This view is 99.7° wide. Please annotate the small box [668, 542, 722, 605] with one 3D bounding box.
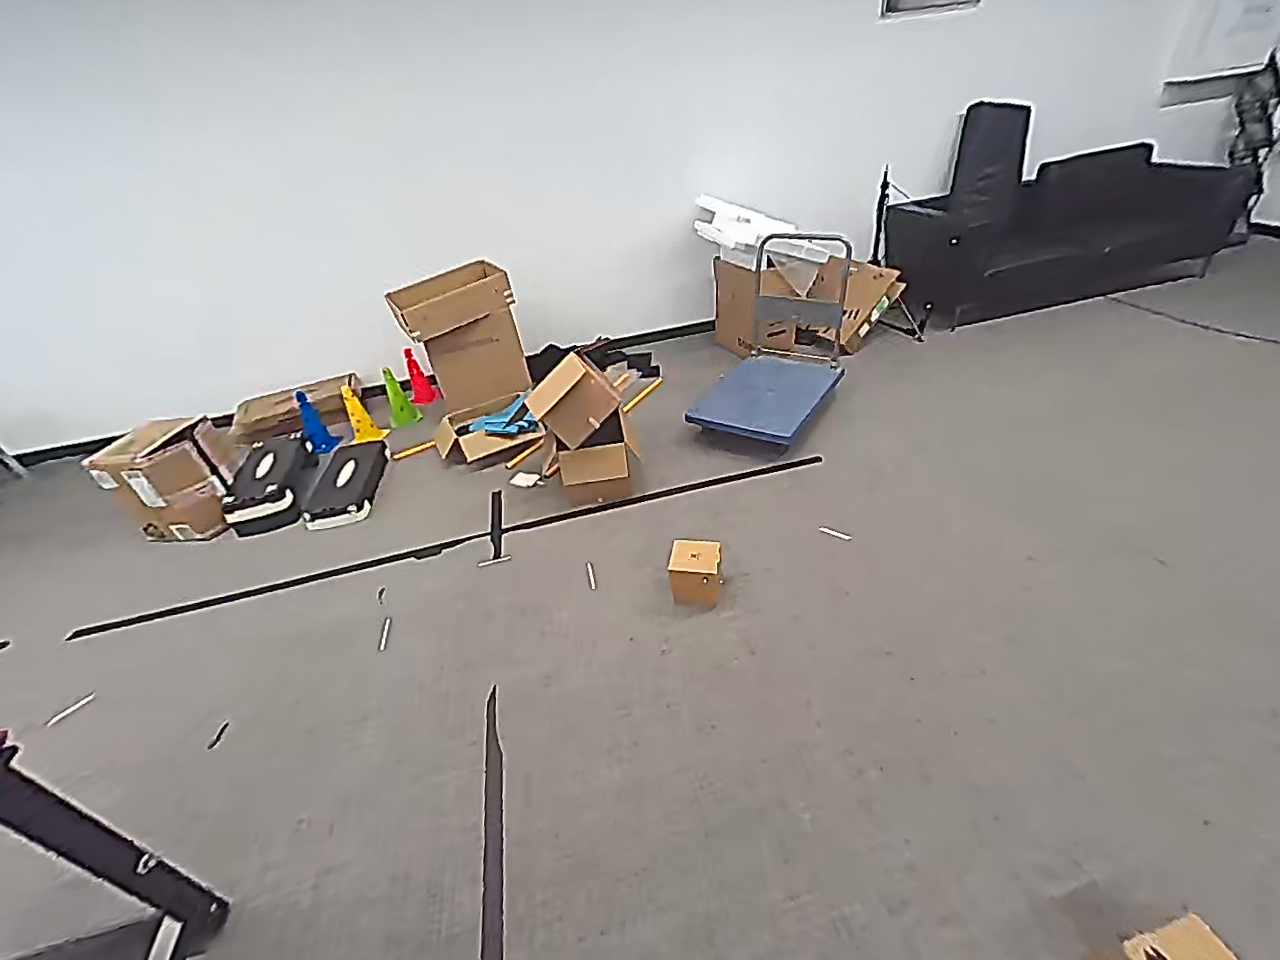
[{"bbox_3d":[0.210,0.349,2.016,0.179,0.176,0.168,2,35,13],"label":"small box"}]
